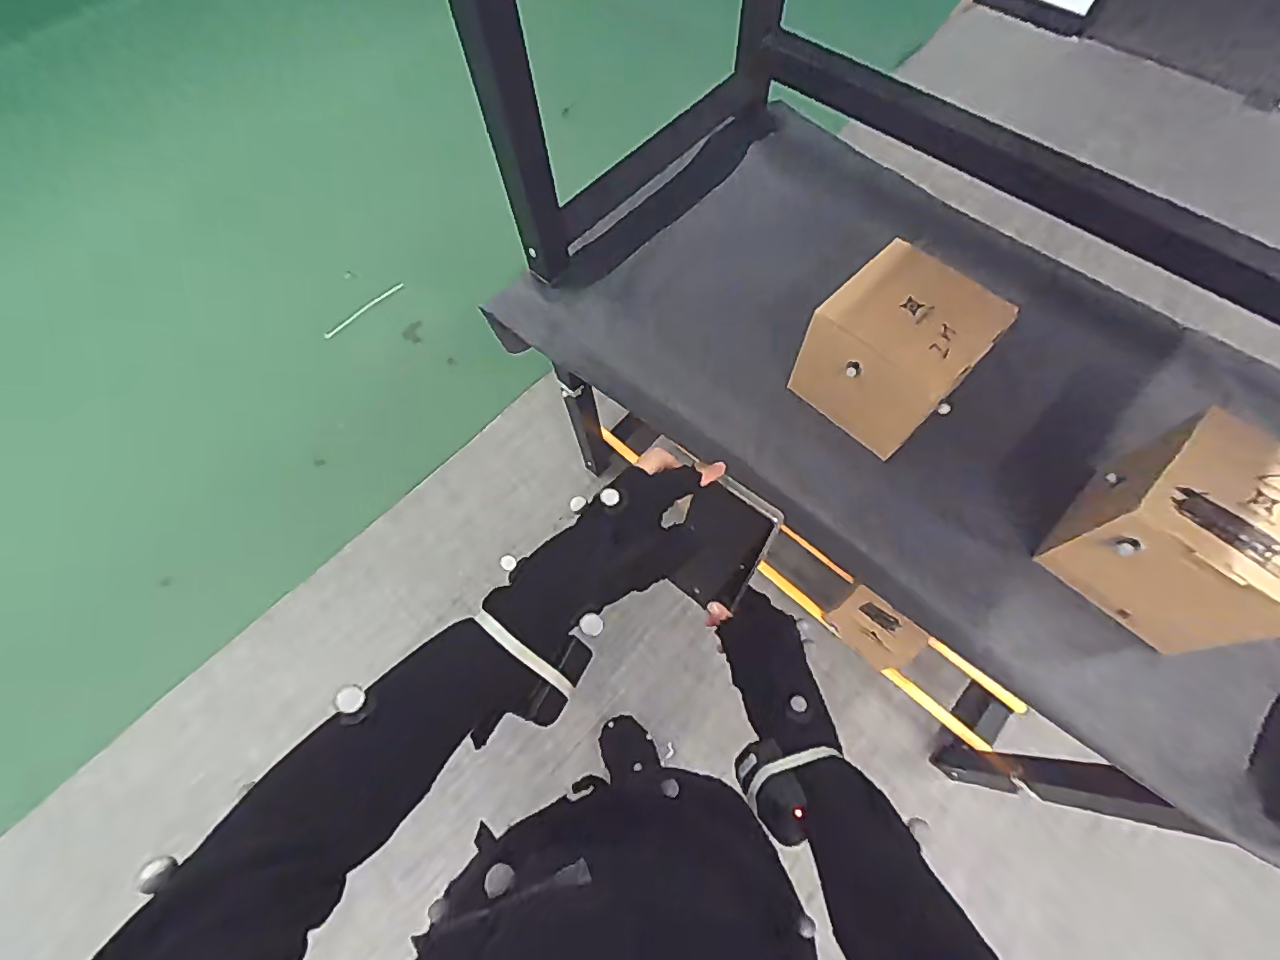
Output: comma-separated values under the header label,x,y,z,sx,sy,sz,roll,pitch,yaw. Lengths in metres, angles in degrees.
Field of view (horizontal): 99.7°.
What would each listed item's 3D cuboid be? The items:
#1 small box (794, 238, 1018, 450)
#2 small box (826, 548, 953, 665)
label,x,y,z,sx,sy,sz,roll,pitch,yaw
small box,0.331,-0.171,0.715,0.168,0.176,0.179,-42,71,-14
small box,0.533,0.284,1.188,0.179,0.176,0.168,-42,71,-14
